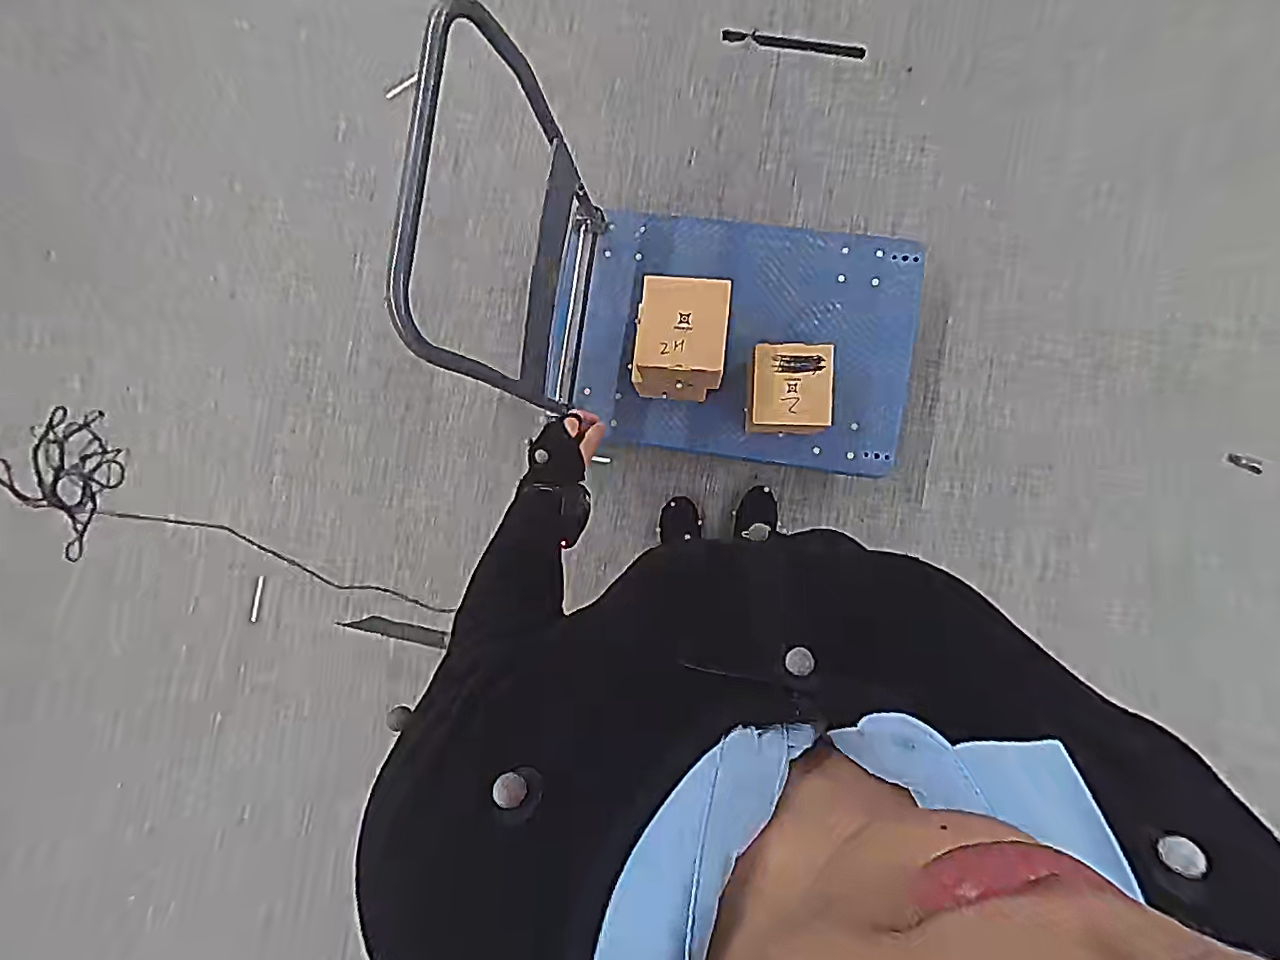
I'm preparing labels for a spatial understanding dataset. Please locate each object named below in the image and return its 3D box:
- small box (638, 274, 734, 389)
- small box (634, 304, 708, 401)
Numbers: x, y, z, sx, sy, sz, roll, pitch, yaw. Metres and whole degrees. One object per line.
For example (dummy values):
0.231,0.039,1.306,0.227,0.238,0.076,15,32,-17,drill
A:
0.092,-0.291,1.087,0.168,0.176,0.179,6,90,6,small box
0.081,-0.290,1.253,0.168,0.176,0.179,5,90,5,small box
